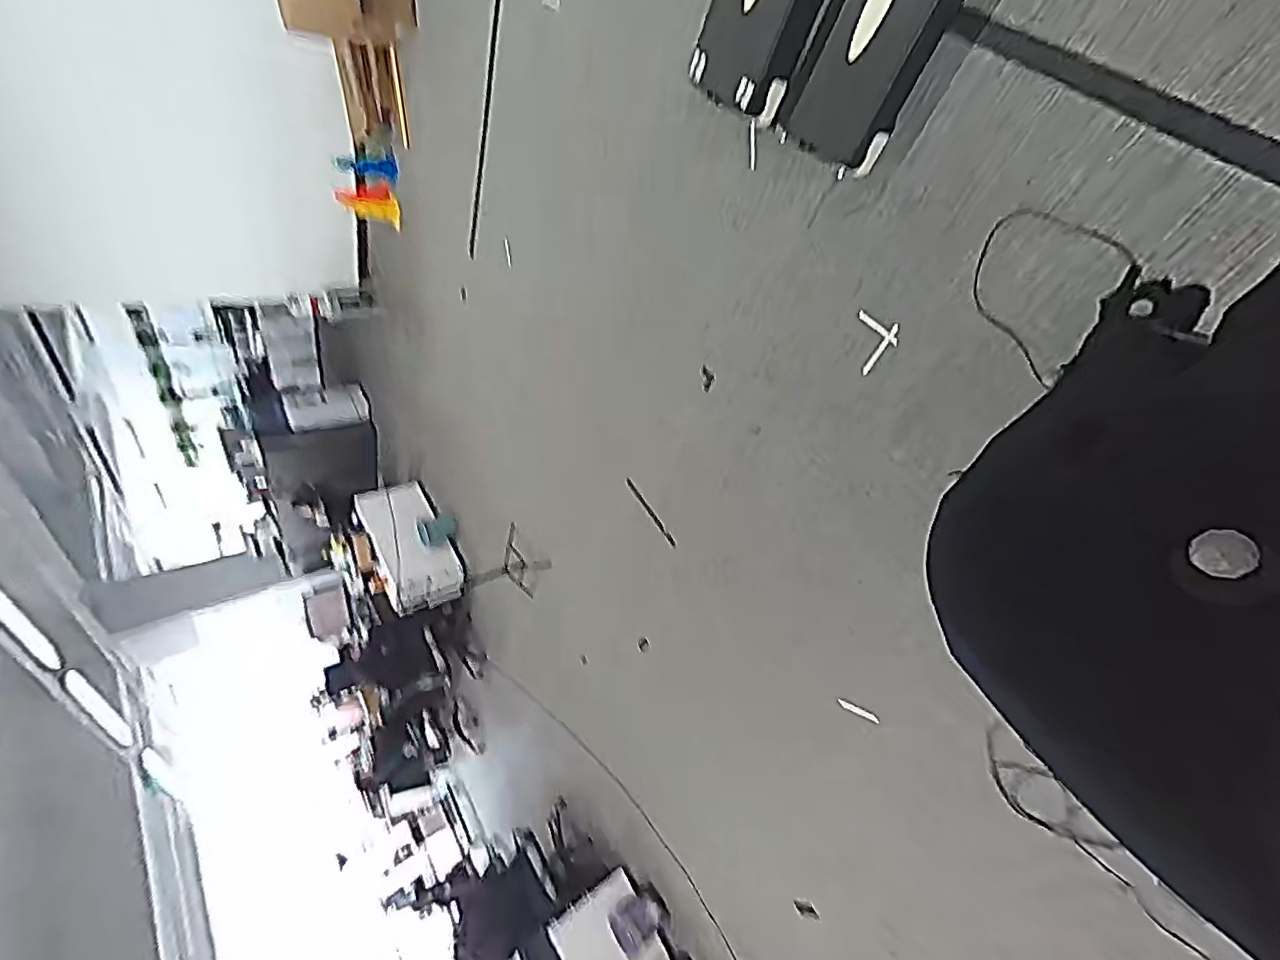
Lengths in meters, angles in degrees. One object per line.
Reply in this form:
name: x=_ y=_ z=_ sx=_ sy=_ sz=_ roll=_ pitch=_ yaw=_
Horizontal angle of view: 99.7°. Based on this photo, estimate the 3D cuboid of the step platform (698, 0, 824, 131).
step platform: x=0.395 y=-1.262 z=1.301 sx=0.286 sy=0.204 sz=0.684 roll=51 pitch=138 yaw=26
